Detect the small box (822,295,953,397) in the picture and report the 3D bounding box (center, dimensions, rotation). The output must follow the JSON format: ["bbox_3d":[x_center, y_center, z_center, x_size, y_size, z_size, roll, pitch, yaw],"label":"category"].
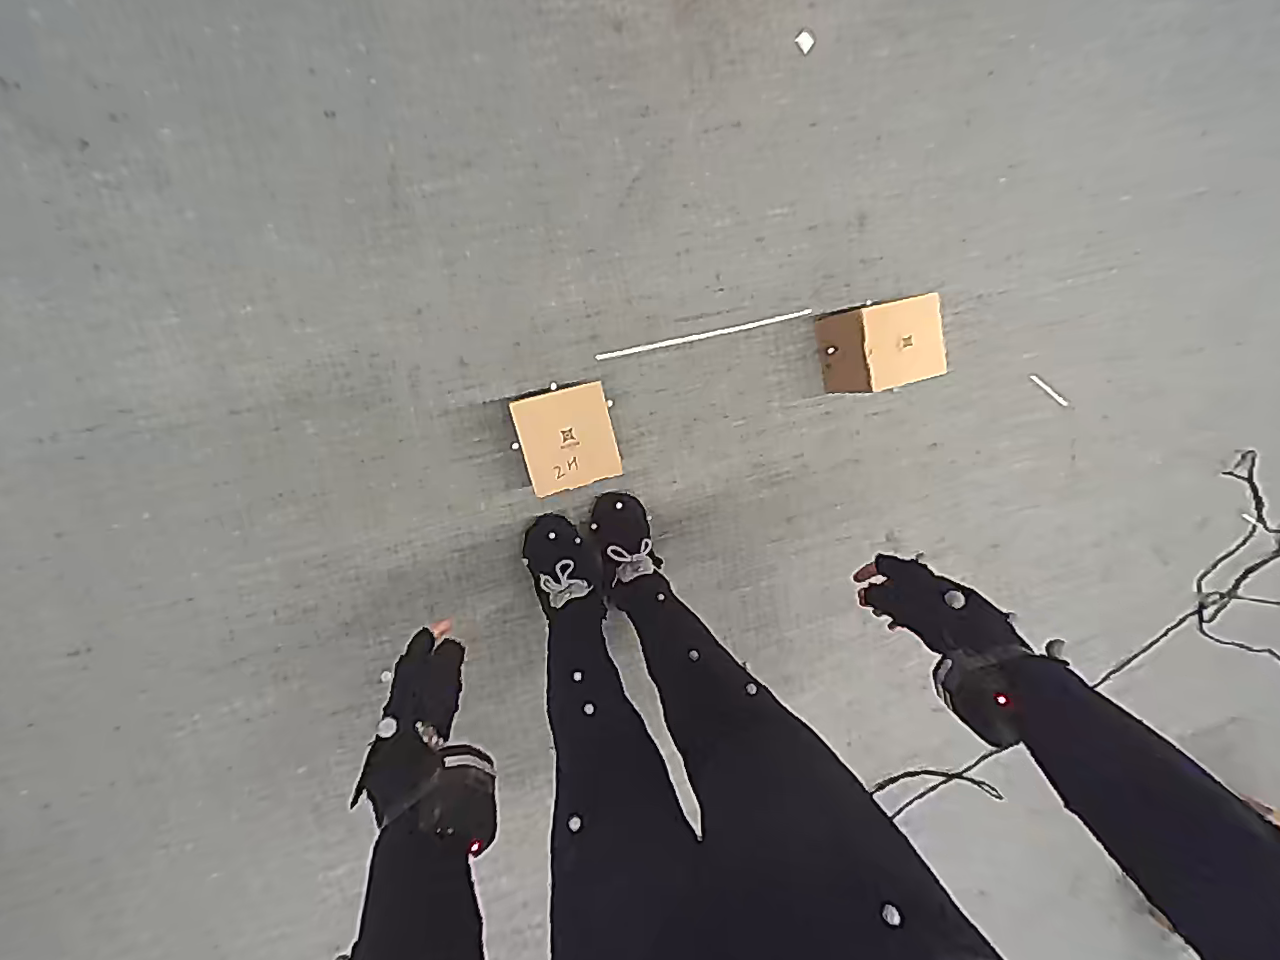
[{"bbox_3d":[0.510,-0.276,1.127,0.179,0.176,0.168,-16,102,-9],"label":"small box"}]

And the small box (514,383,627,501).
[{"bbox_3d":[-0.136,-0.076,1.015,0.168,0.176,0.179,-16,102,-10],"label":"small box"}]
